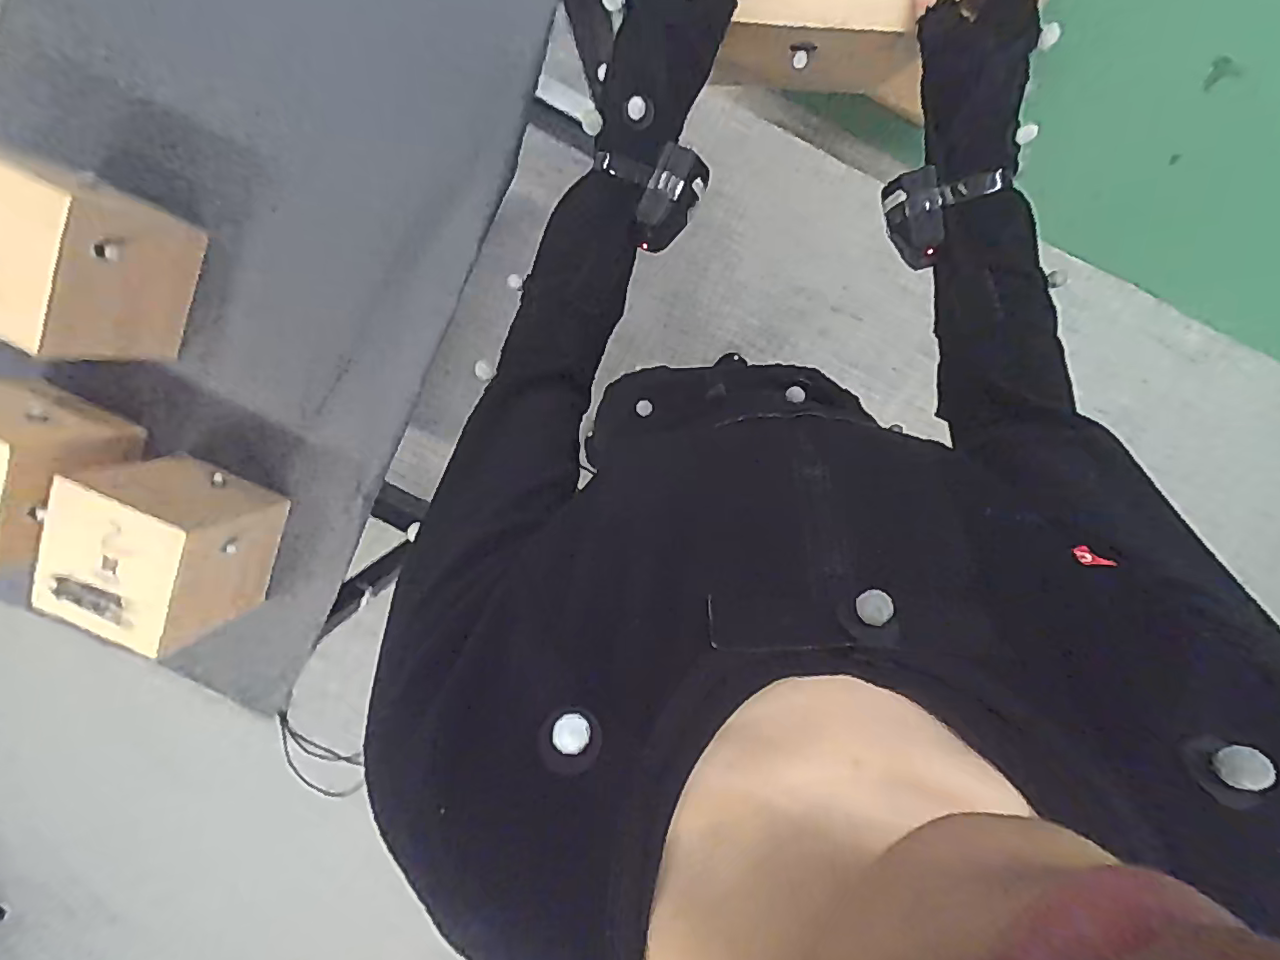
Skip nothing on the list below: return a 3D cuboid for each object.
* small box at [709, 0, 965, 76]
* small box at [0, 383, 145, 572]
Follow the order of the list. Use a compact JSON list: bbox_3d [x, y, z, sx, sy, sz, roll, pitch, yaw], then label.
[{"bbox_3d":[0.151,-0.440,0.423,0.179,0.176,0.168,4,114,1],"label":"small box"},{"bbox_3d":[-0.802,-0.015,0.699,0.168,0.176,0.179,25,104,-2],"label":"small box"}]
